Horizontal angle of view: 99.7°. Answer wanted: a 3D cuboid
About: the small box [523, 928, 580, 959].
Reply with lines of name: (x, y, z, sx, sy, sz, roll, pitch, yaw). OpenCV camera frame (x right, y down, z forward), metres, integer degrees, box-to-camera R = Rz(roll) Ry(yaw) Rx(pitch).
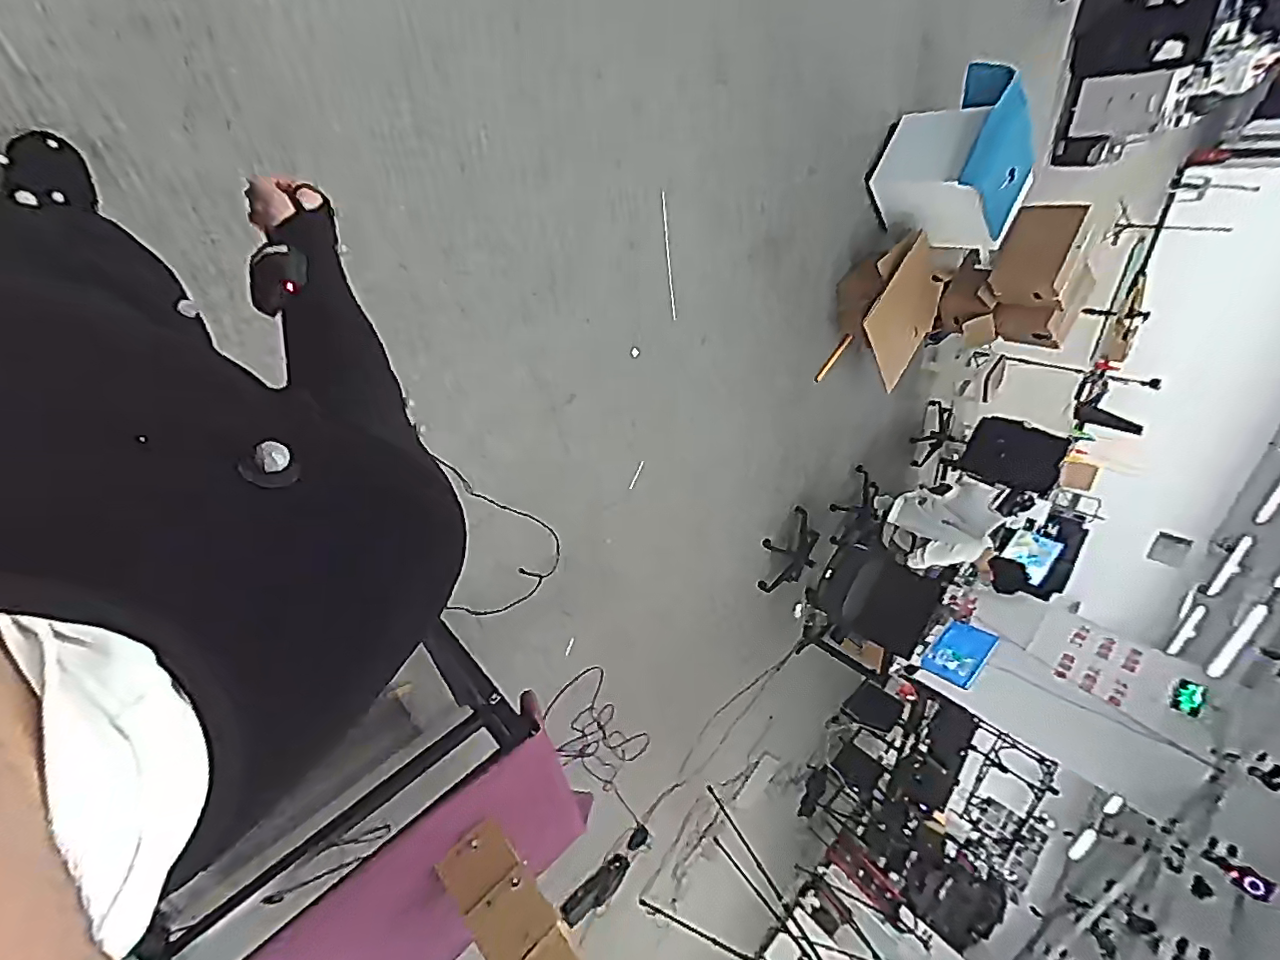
small box: (-0.189, 1.140, 1.183, 0.168, 0.176, 0.179, -36, 134, -29)

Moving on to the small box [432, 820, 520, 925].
small box: (-0.407, 1.031, 1.400, 0.168, 0.176, 0.179, -33, 131, -30)

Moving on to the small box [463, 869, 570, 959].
small box: (-0.296, 1.081, 1.290, 0.168, 0.176, 0.179, -33, 133, -31)
